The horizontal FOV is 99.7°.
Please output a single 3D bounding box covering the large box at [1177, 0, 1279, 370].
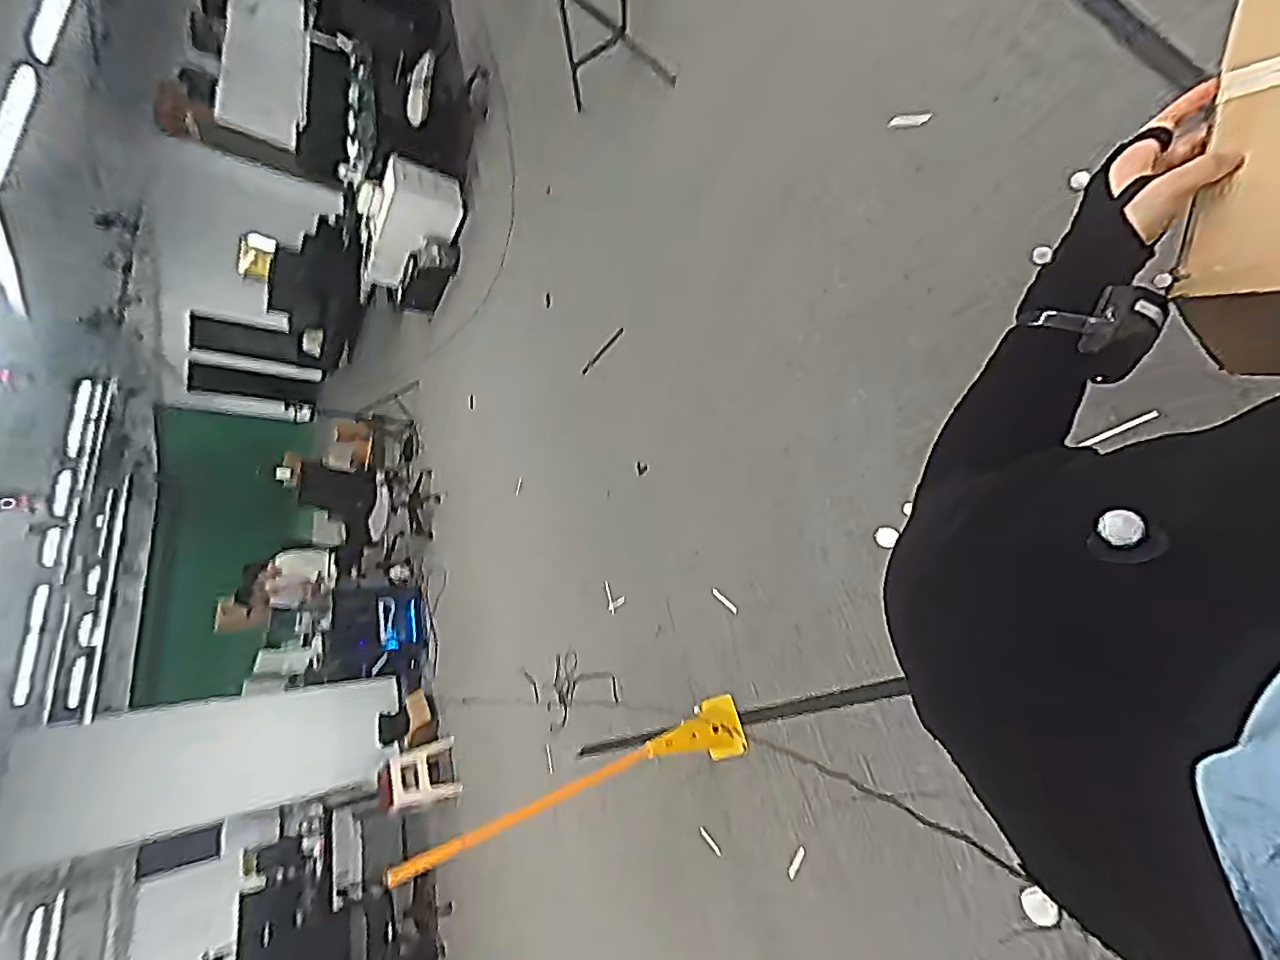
[{"bbox_3d":[0.683,-0.255,0.347,0.408,0.320,0.320,14,96,54],"label":"large box"}]
